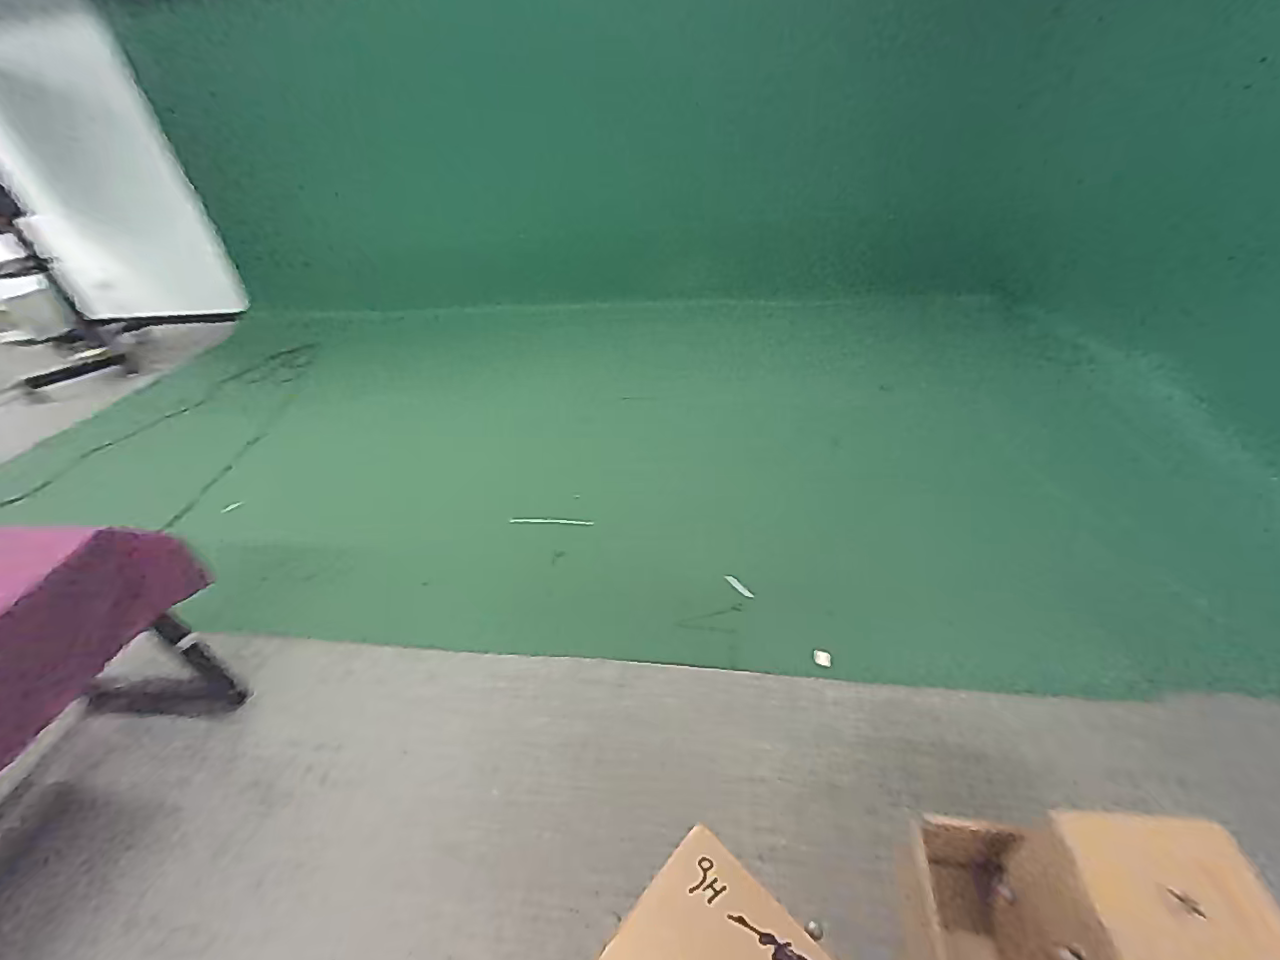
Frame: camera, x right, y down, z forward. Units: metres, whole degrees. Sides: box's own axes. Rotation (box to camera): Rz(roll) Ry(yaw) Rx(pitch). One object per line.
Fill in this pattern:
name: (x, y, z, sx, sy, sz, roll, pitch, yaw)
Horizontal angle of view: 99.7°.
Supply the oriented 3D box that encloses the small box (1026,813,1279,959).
small box: (0.562, 0.492, 0.591, 0.179, 0.176, 0.168, 0, 39, 8)
